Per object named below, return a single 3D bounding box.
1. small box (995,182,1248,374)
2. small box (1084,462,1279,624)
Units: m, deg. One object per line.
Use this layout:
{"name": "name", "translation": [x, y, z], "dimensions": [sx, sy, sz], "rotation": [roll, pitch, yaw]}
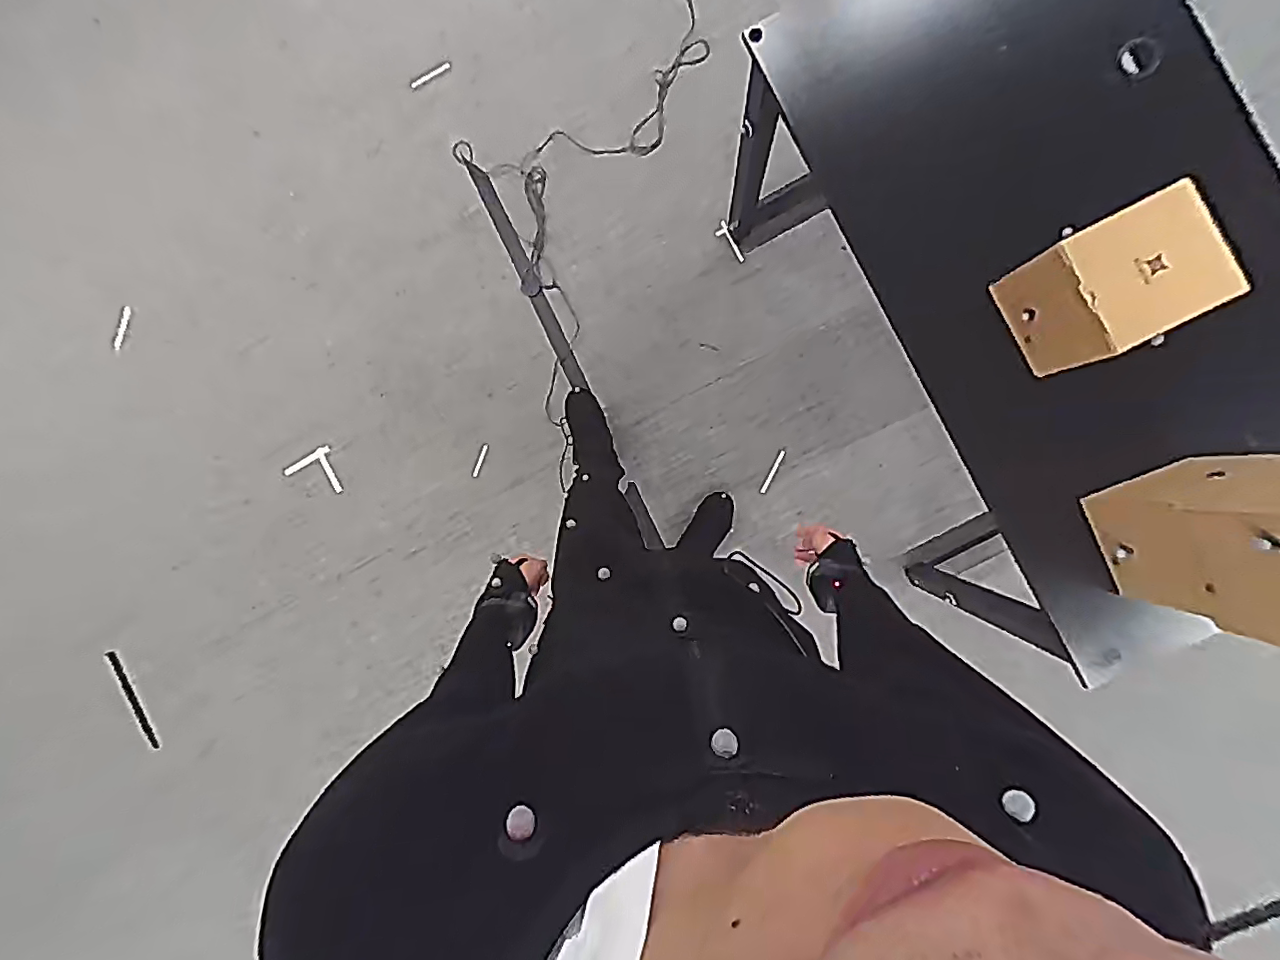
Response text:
{"name": "small box", "translation": [0.662, -0.271, 0.769], "dimensions": [0.179, 0.176, 0.168], "rotation": [-27, 88, 5]}
{"name": "small box", "translation": [0.794, 0.076, 0.760], "dimensions": [0.179, 0.176, 0.168], "rotation": [-22, 88, 5]}
